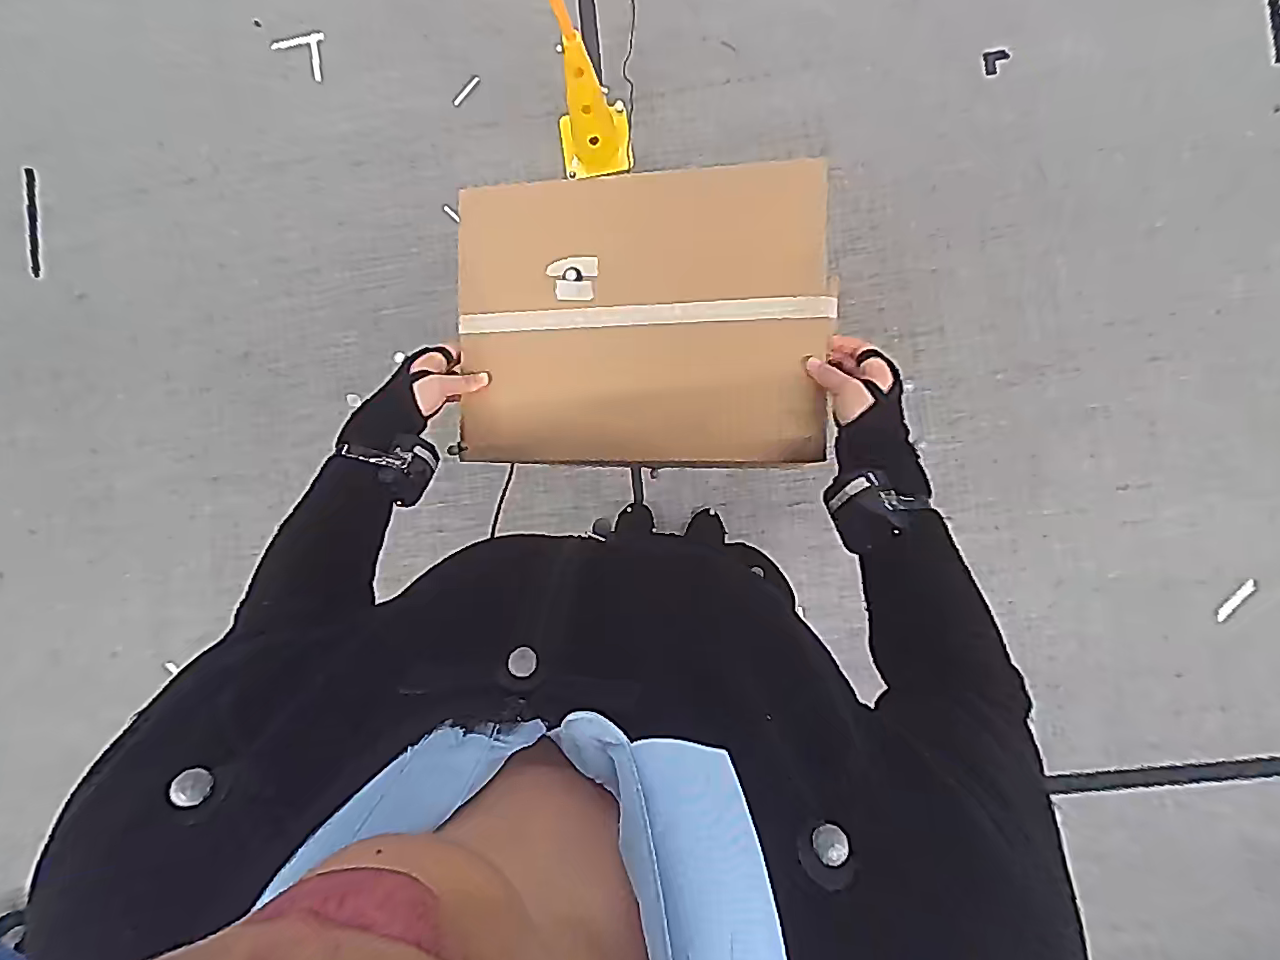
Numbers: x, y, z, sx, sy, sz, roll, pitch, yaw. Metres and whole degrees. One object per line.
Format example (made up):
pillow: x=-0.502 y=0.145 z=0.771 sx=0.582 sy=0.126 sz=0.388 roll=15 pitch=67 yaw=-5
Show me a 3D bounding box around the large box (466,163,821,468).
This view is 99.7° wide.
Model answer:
large box: x=0.020 y=-0.177 z=0.746 sx=0.408 sy=0.320 sz=0.320 roll=0 pitch=88 yaw=11
